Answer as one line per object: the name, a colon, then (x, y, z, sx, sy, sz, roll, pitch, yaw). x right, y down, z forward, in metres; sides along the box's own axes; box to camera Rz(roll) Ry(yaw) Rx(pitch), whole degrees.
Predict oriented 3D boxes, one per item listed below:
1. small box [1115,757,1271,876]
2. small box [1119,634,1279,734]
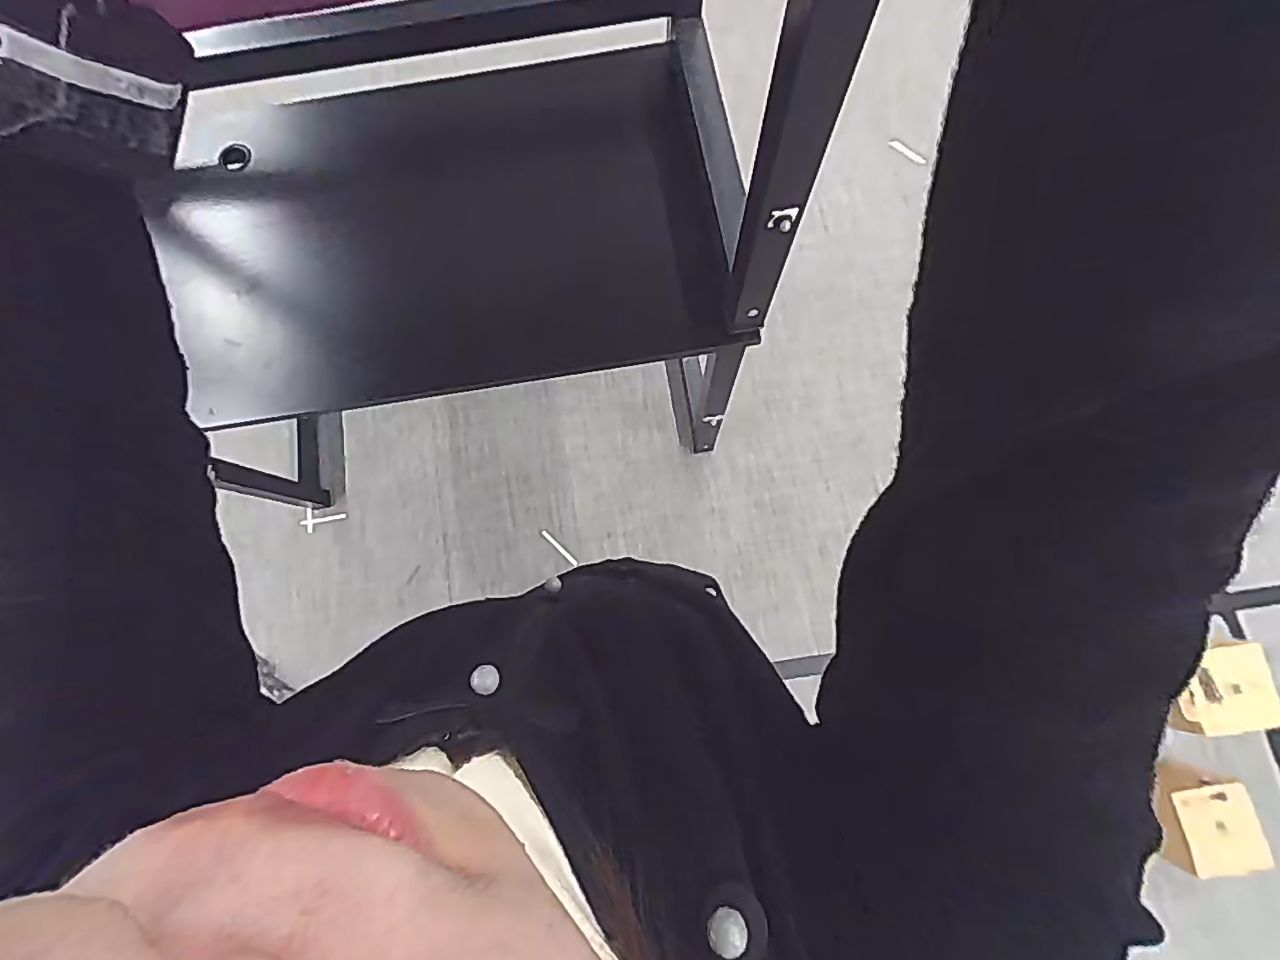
small box: (1.278, 0.778, 1.265, 0.168, 0.176, 0.179, -10, 79, 0)
small box: (1.194, 0.433, 1.169, 0.179, 0.176, 0.168, -8, 79, -1)
